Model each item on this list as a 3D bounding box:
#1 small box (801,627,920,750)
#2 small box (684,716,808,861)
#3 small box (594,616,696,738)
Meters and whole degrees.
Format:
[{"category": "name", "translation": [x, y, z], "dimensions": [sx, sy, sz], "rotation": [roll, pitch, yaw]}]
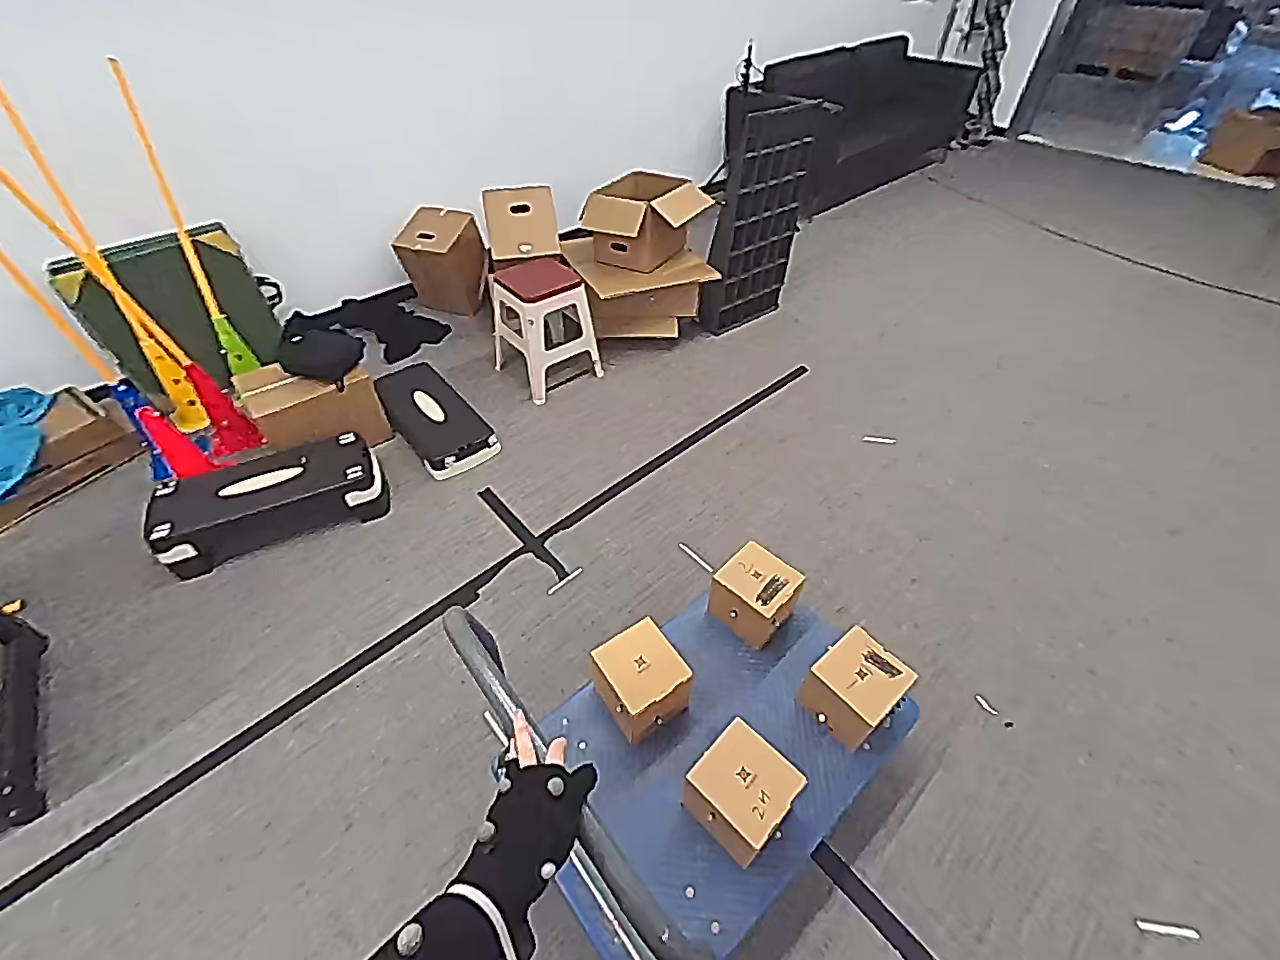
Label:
[{"category": "small box", "translation": [0.497, 0.481, 1.246], "dimensions": [0.179, 0.176, 0.168], "rotation": [-30, 53, -25]}, {"category": "small box", "translation": [0.205, 0.628, 1.096], "dimensions": [0.168, 0.176, 0.179], "rotation": [-34, 55, -29]}, {"category": "small box", "translation": [0.005, 0.459, 1.259], "dimensions": [0.168, 0.176, 0.179], "rotation": [-25, 53, -24]}]
